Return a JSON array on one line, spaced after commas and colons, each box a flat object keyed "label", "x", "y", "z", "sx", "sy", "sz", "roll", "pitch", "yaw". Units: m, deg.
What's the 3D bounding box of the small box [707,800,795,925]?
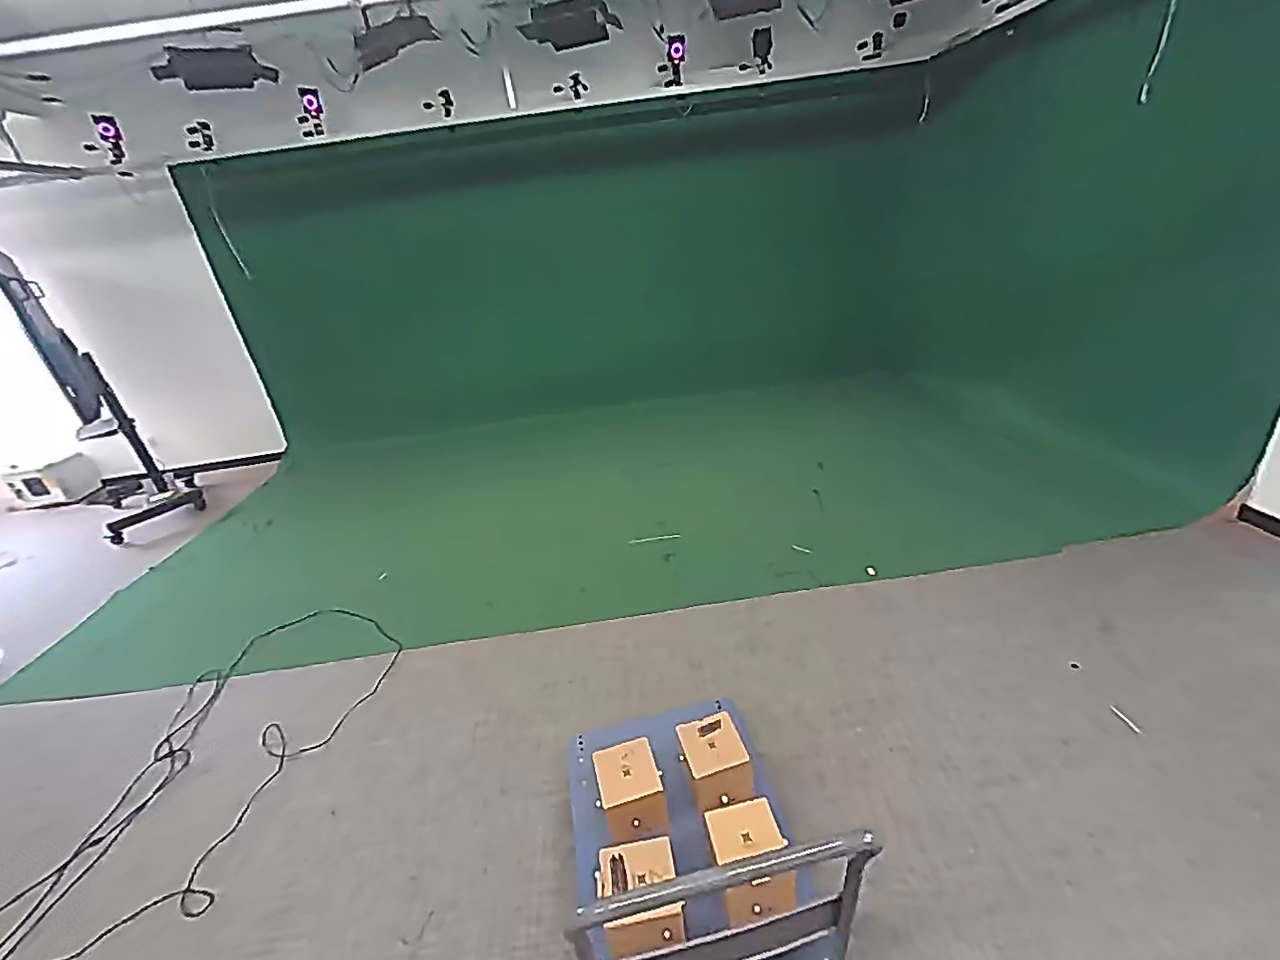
[{"label": "small box", "x": 0.267, "y": 0.933, "z": 1.325, "sx": 0.168, "sy": 0.176, "sz": 0.179, "roll": -10, "pitch": 27, "yaw": -6}]

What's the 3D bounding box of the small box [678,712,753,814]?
[{"label": "small box", "x": 0.216, "y": 0.818, "z": 1.564, "sx": 0.168, "sy": 0.176, "sz": 0.179, "roll": -13, "pitch": 28, "yaw": -9}]

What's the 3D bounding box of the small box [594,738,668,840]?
[{"label": "small box", "x": -0.026, "y": 0.873, "z": 1.520, "sx": 0.168, "sy": 0.176, "sz": 0.179, "roll": -12, "pitch": 27, "yaw": -10}]
